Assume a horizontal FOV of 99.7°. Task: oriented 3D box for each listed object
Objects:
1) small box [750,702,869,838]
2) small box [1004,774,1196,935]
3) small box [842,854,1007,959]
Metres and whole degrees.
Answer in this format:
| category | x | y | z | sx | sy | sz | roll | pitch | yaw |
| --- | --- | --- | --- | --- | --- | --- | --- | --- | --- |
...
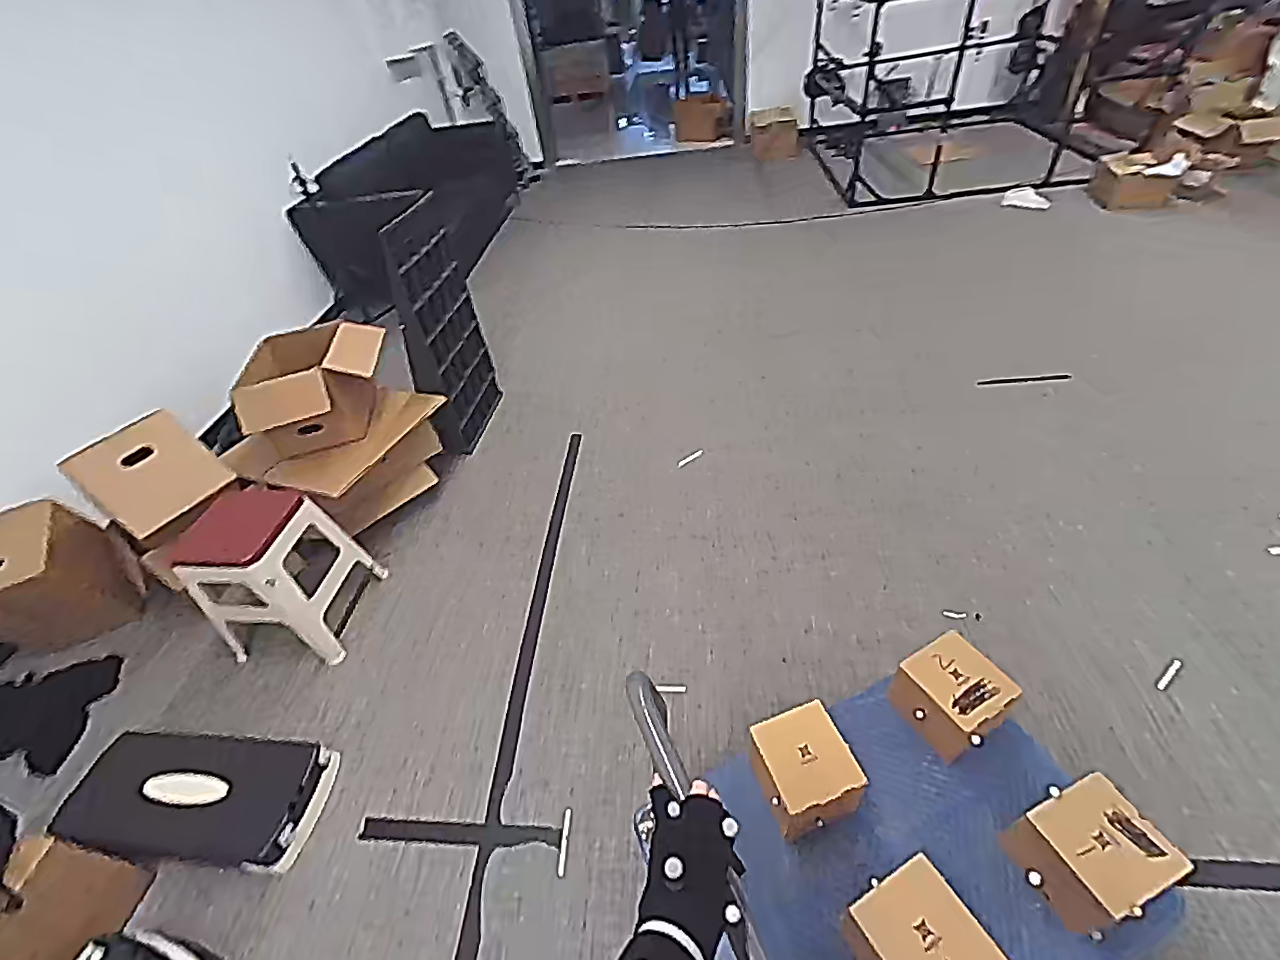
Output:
| category | x | y | z | sx | sy | sz | roll | pitch | yaw |
| --- | --- | --- | --- | --- | --- | --- | --- | --- | --- |
| small box | 0.339 | 0.603 | 1.125 | 0.168 | 0.176 | 0.179 | -18 | 45 | -10 |
| small box | 0.802 | 0.669 | 0.968 | 0.179 | 0.176 | 0.168 | -21 | 44 | -11 |
| small box | 0.465 | 0.782 | 0.906 | 0.168 | 0.176 | 0.179 | -24 | 44 | -15 |
